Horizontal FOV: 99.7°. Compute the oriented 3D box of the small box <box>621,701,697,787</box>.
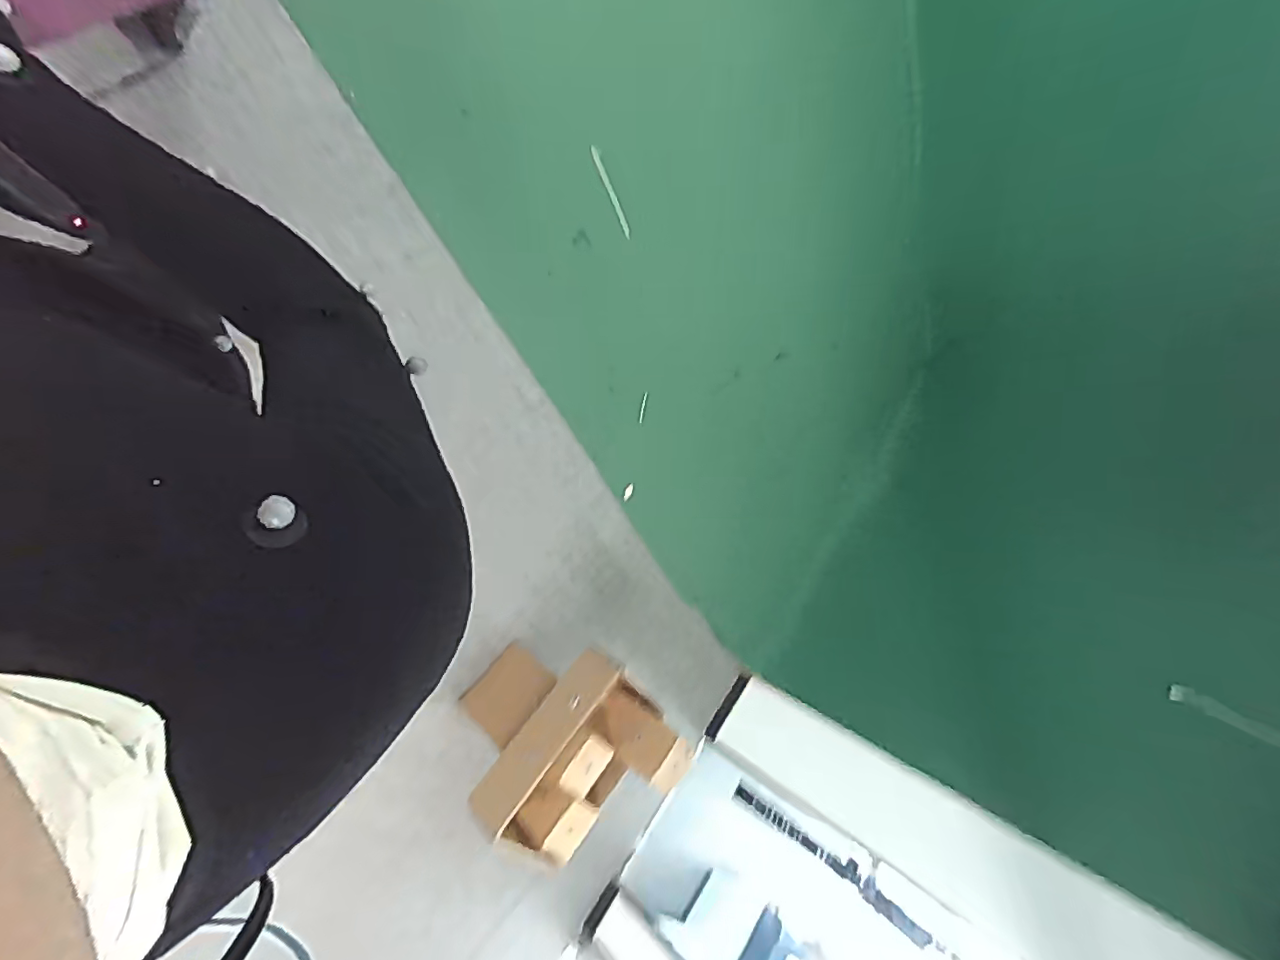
[{"bbox_3d":[0.058,0.898,1.847,0.179,0.176,0.168,-48,133,-20],"label":"small box"}]
